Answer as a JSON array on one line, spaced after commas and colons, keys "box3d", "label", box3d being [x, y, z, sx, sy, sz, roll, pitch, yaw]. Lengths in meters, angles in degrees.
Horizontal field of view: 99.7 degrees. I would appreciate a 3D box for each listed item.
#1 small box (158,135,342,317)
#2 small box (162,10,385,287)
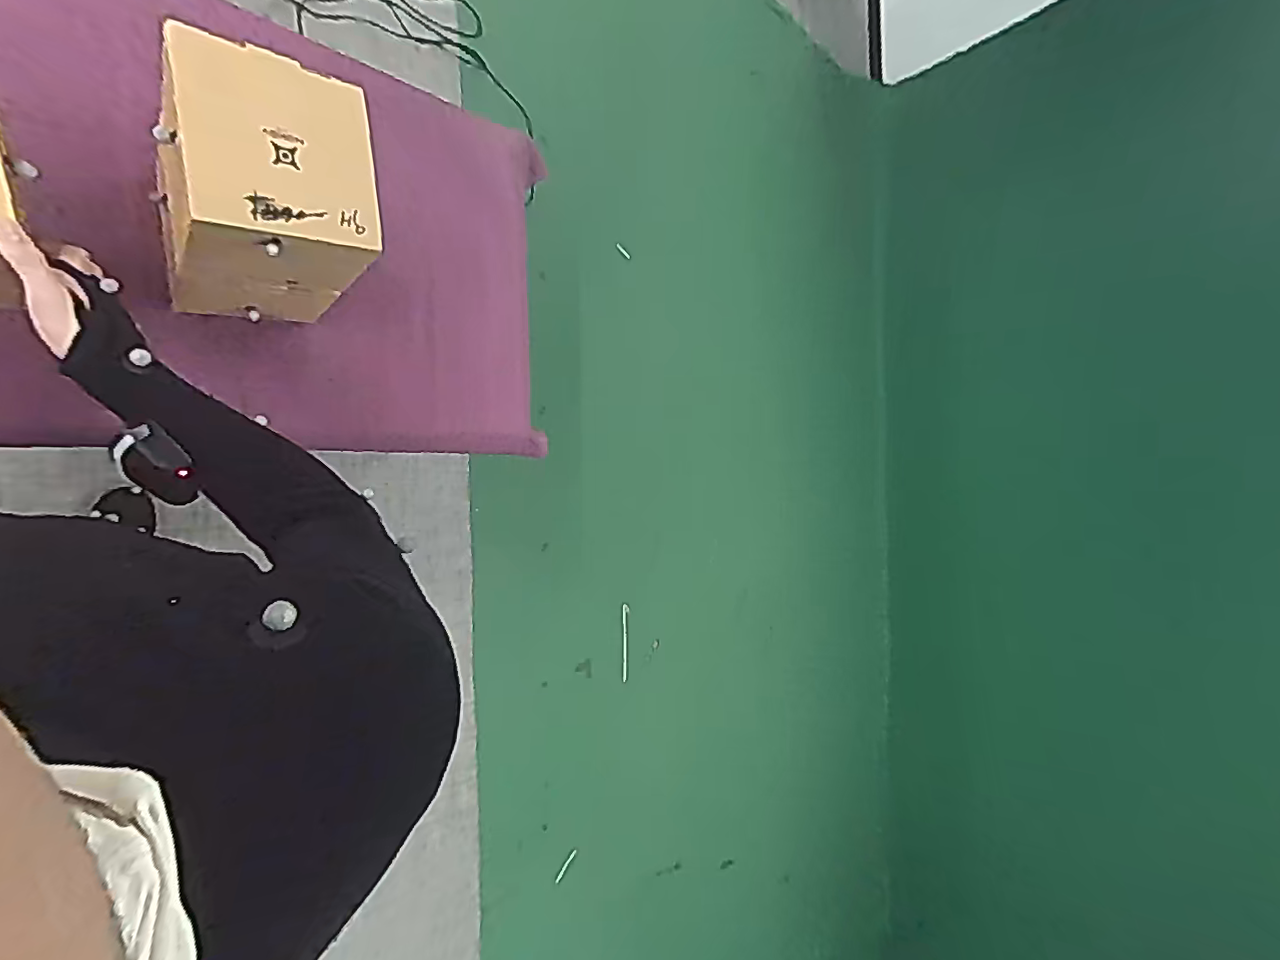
[{"box3d": [-0.509, -0.327, 0.704, 0.168, 0.176, 0.179, -7, 95, -43], "label": "small box"}, {"box3d": [-0.397, -0.329, 0.585, 0.168, 0.176, 0.179, -8, 94, -42], "label": "small box"}]
